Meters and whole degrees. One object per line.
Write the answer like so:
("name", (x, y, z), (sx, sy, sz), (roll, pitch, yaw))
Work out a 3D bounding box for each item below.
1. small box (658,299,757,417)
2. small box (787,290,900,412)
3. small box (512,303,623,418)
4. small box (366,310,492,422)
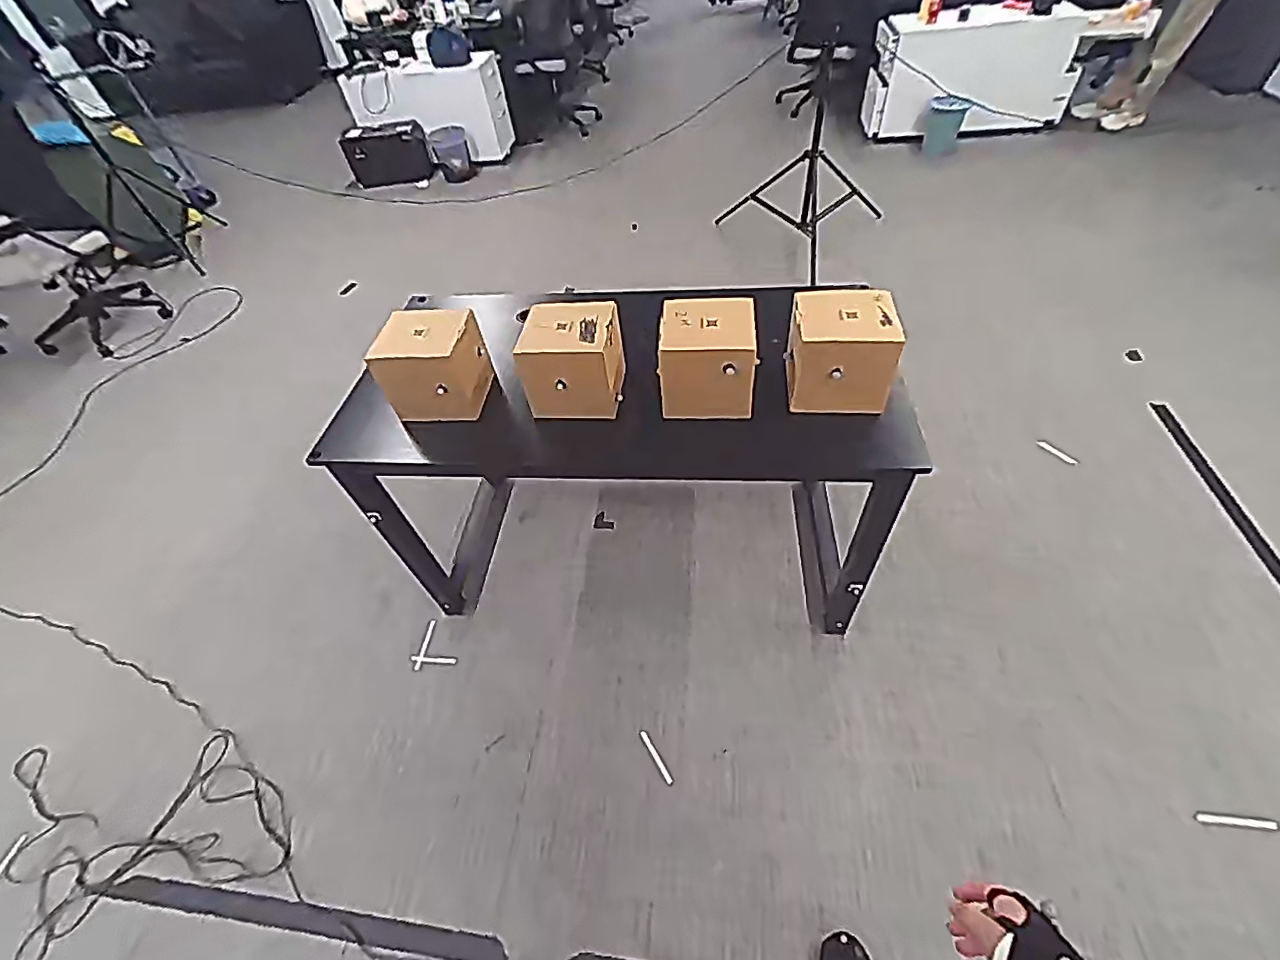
("small box", (0.131, -0.238, 1.067), (0.179, 0.176, 0.168), (0, 49, 7))
("small box", (0.379, -0.245, 1.043), (0.179, 0.176, 0.168), (1, 50, 10))
("small box", (-0.136, -0.241, 1.104), (0.179, 0.176, 0.168), (1, 50, 9))
("small box", (-0.429, -0.237, 1.139), (0.179, 0.176, 0.168), (-1, 49, 6))
